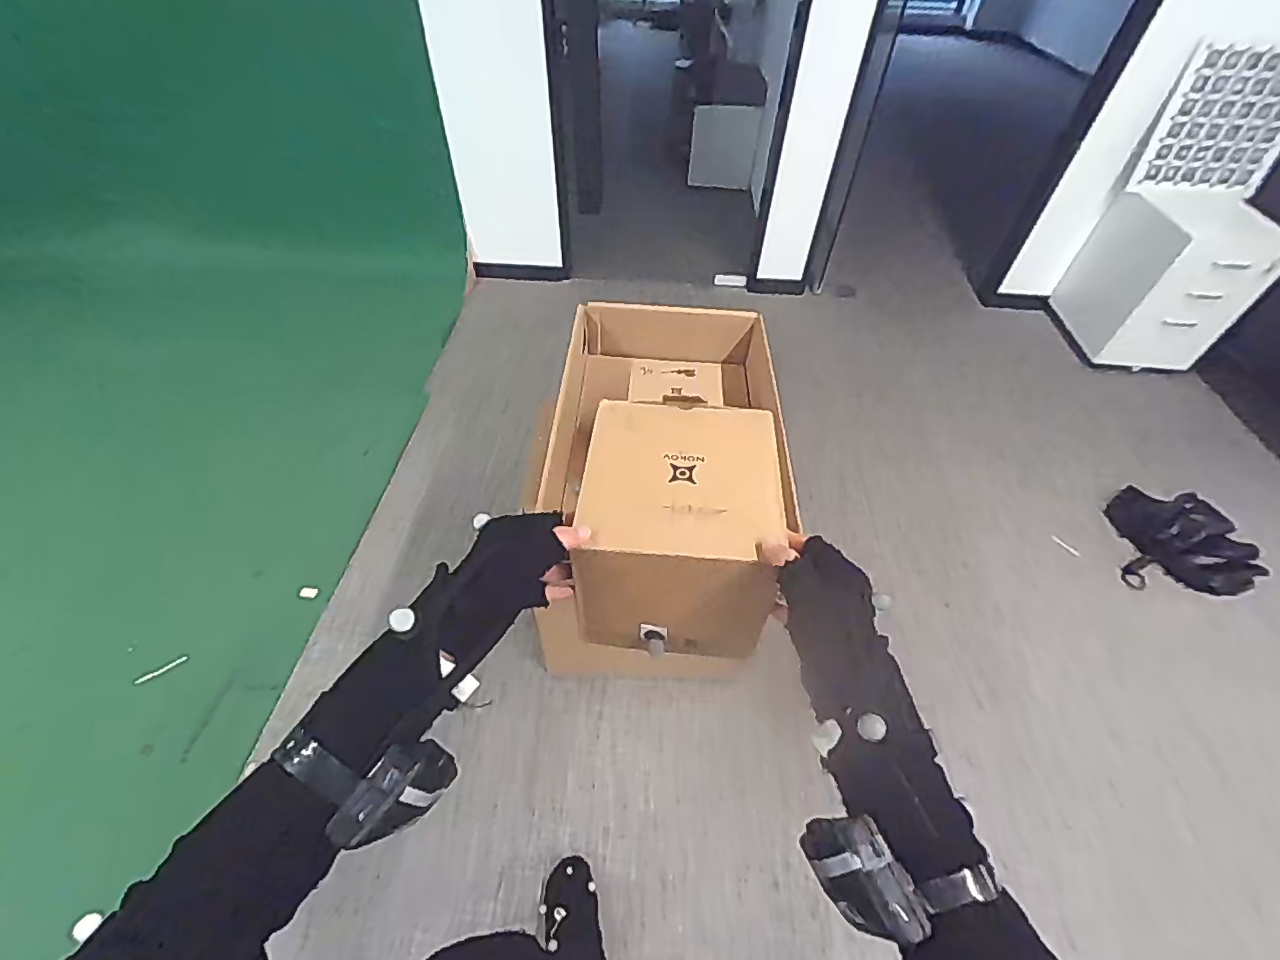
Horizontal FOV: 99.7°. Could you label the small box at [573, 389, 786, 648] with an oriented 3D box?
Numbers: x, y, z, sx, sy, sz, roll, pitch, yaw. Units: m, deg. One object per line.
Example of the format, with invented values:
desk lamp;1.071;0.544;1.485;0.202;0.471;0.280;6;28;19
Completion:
small box;0.034;0.037;0.520;0.168;0.176;0.179;5;48;3
